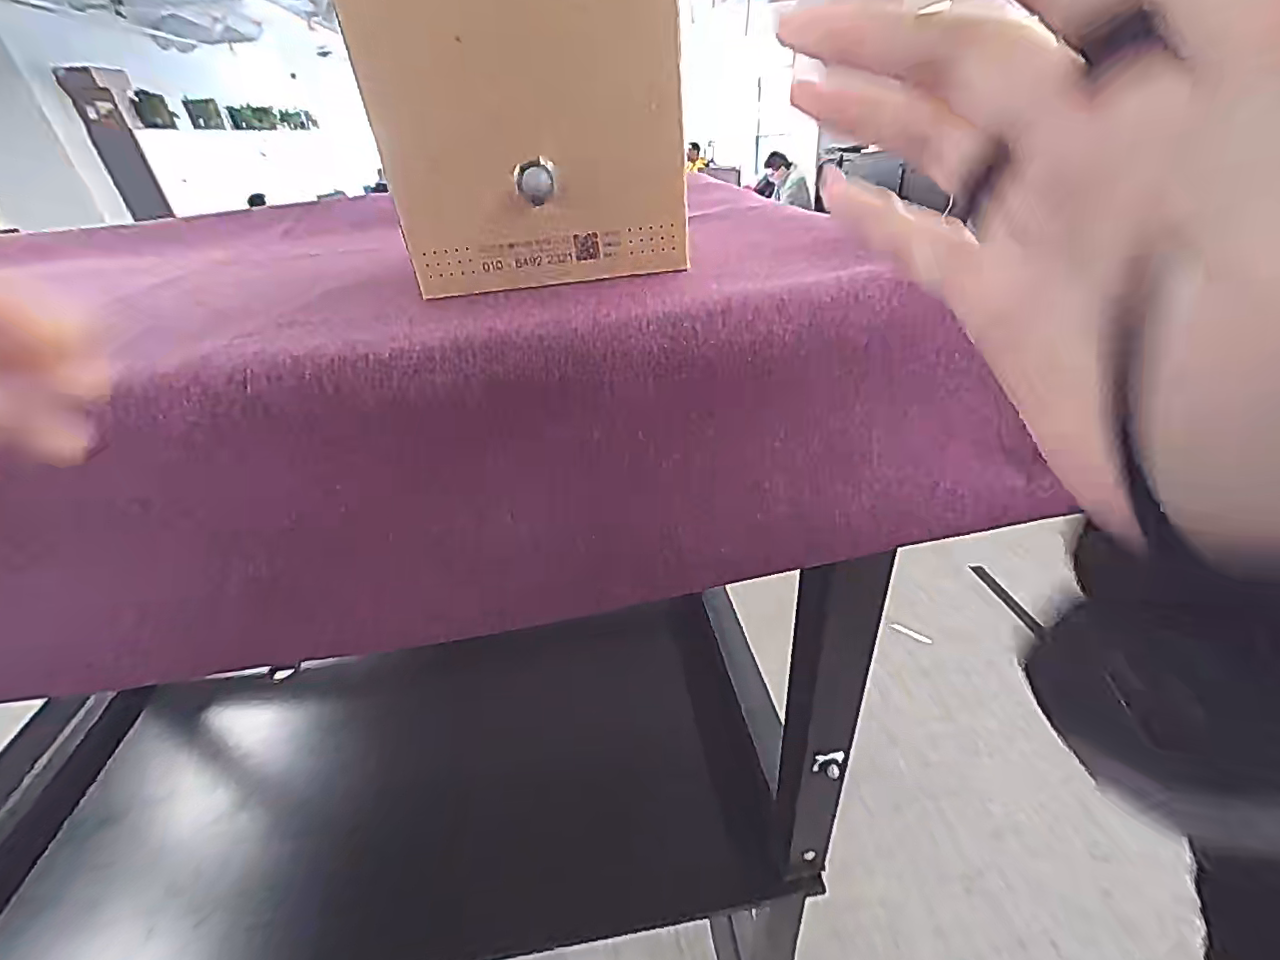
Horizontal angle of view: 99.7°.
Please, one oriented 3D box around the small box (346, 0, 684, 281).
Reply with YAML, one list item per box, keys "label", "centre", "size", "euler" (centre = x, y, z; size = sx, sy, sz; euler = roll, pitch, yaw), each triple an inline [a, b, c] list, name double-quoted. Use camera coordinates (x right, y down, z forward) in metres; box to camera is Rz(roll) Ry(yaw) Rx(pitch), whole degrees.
- label: "small box"
  centre: [-0.066, -0.236, 0.352]
  size: [0.168, 0.176, 0.179]
  euler: [-7, 33, -1]
